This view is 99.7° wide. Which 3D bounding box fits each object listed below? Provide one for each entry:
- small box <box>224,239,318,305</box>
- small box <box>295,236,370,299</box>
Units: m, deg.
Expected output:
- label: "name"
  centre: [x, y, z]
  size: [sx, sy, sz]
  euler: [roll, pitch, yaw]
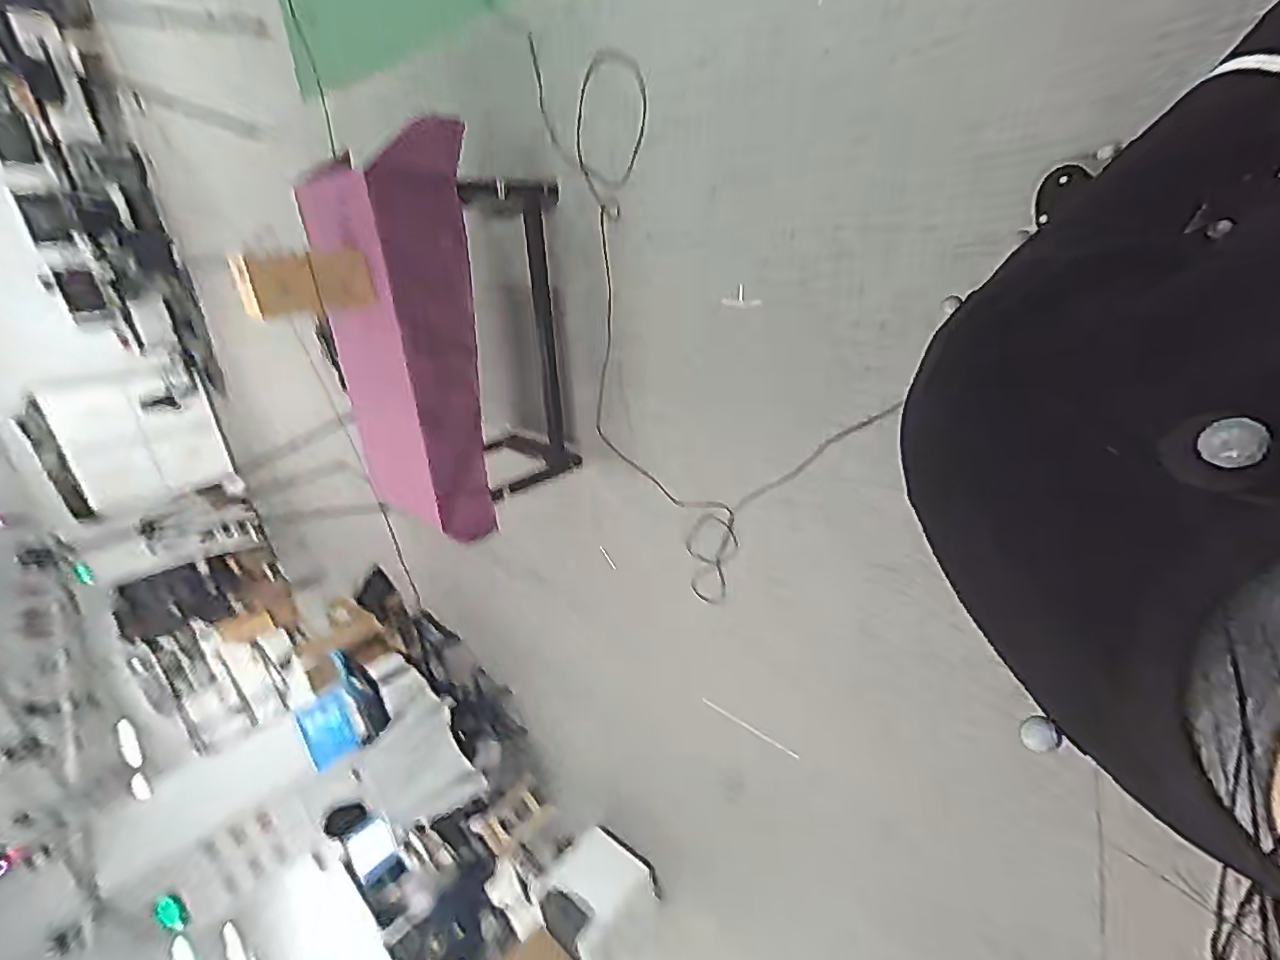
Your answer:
- label: "small box"
  centre: [-1.104, -0.628, 1.625]
  size: [0.168, 0.176, 0.179]
  euler: [19, 122, 40]
- label: "small box"
  centre: [-0.995, -0.683, 1.736]
  size: [0.168, 0.176, 0.179]
  euler: [17, 121, 40]
